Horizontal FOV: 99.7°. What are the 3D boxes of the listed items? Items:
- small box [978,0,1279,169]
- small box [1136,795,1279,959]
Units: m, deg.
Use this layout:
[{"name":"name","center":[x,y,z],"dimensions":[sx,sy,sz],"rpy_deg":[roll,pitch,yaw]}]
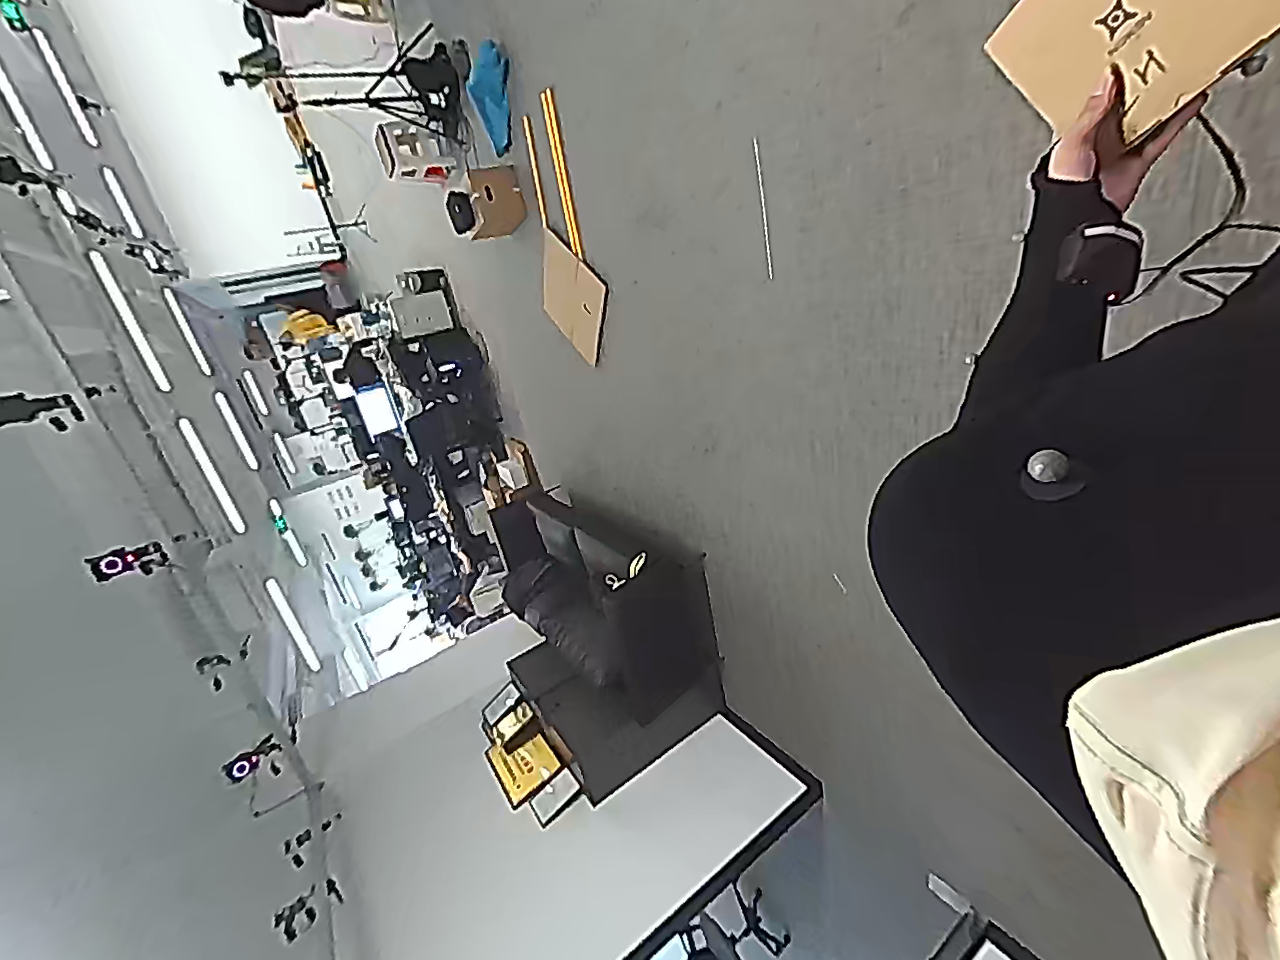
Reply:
[{"name":"small box","center":[0.469,-0.437,0.490],"dimensions":[0.179,0.176,0.168],"rpy_deg":[53,163,3]},{"name":"small box","center":[1.061,0.725,0.984],"dimensions":[0.168,0.176,0.179],"rpy_deg":[30,137,50]}]
